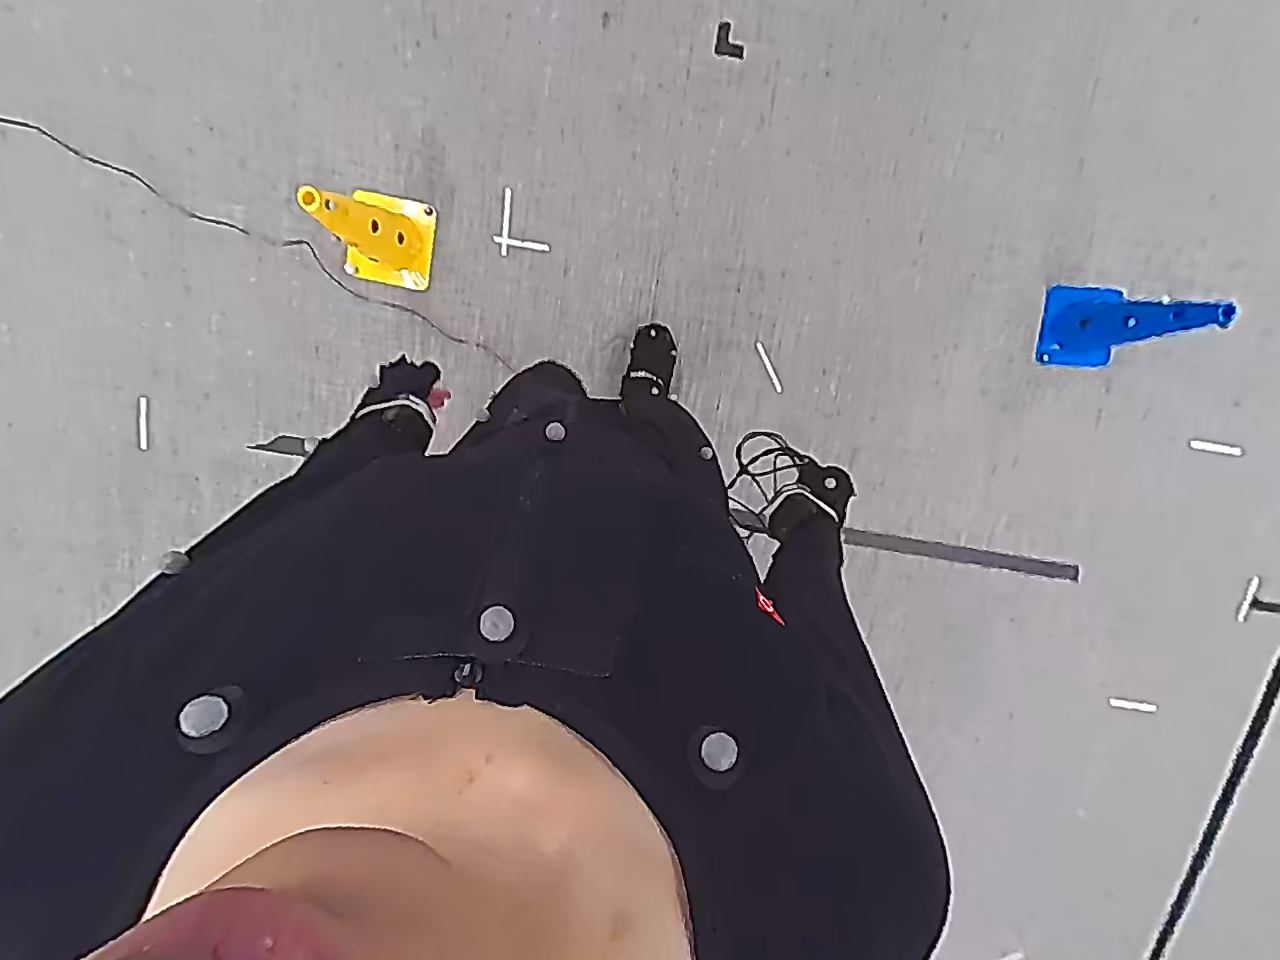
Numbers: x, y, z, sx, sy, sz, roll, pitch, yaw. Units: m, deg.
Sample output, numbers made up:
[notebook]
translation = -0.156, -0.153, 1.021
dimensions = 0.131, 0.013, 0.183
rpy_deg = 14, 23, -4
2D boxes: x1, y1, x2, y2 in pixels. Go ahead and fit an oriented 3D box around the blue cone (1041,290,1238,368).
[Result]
[blue cone]
translation = 1.150, -0.356, 1.240
dimensions = 0.193, 0.380, 0.192
rpy_deg = 4, 102, -3
